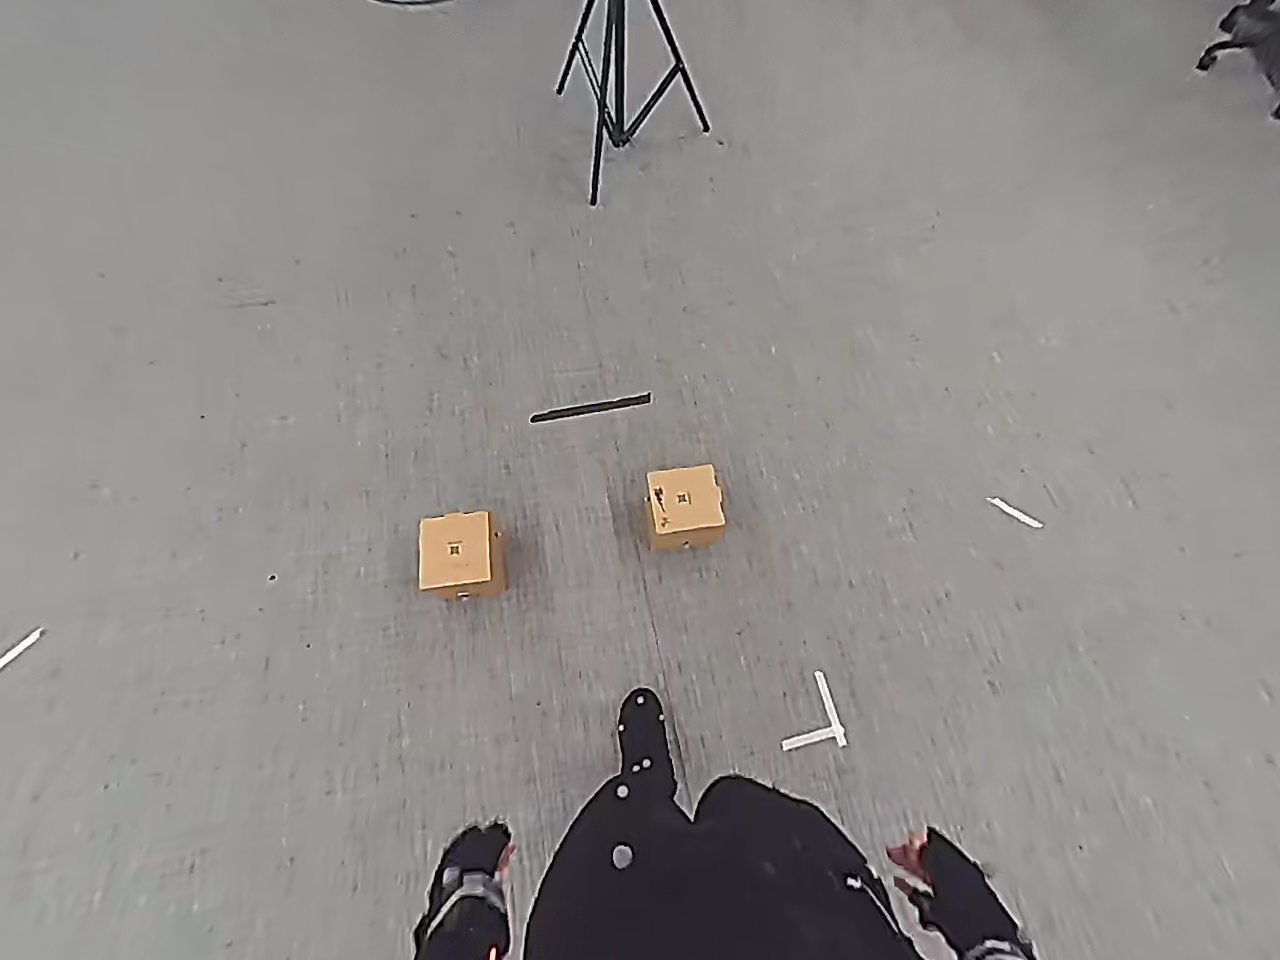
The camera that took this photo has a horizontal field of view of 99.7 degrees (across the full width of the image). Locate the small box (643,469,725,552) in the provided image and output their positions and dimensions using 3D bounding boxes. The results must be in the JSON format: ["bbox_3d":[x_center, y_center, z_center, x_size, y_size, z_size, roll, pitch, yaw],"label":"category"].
[{"bbox_3d":[0.109,0.084,1.419,0.179,0.176,0.168,-7,69,-6],"label":"small box"}]

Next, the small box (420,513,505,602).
[{"bbox_3d":[-0.439,0.197,1.354,0.168,0.176,0.179,-8,70,-4],"label":"small box"}]
